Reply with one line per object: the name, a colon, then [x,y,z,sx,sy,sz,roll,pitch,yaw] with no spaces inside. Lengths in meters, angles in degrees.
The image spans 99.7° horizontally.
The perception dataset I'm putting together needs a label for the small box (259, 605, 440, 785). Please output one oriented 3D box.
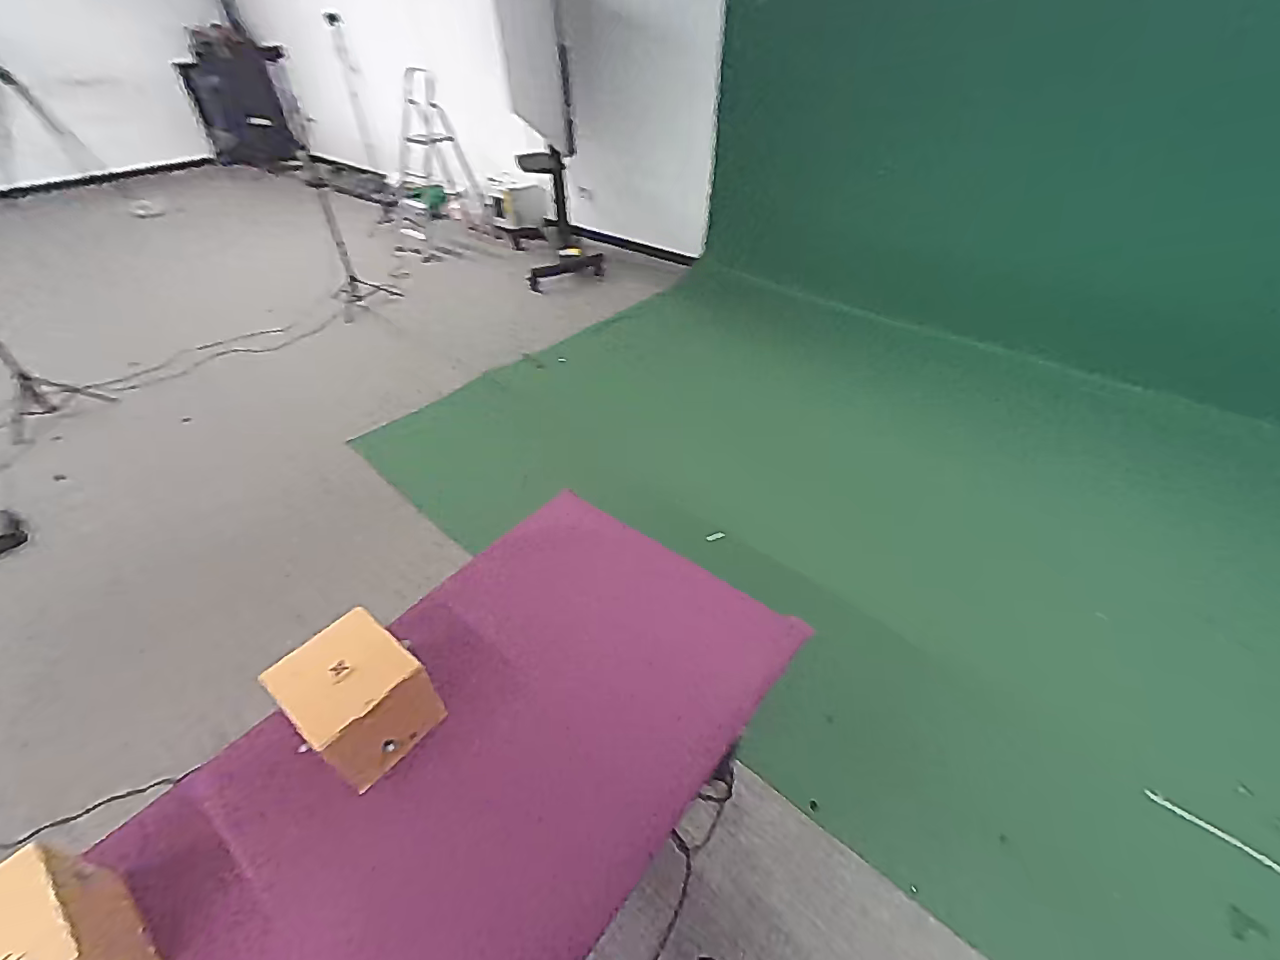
small box: [-0.450,0.341,0.858,0.179,0.176,0.168,28,48,26]
